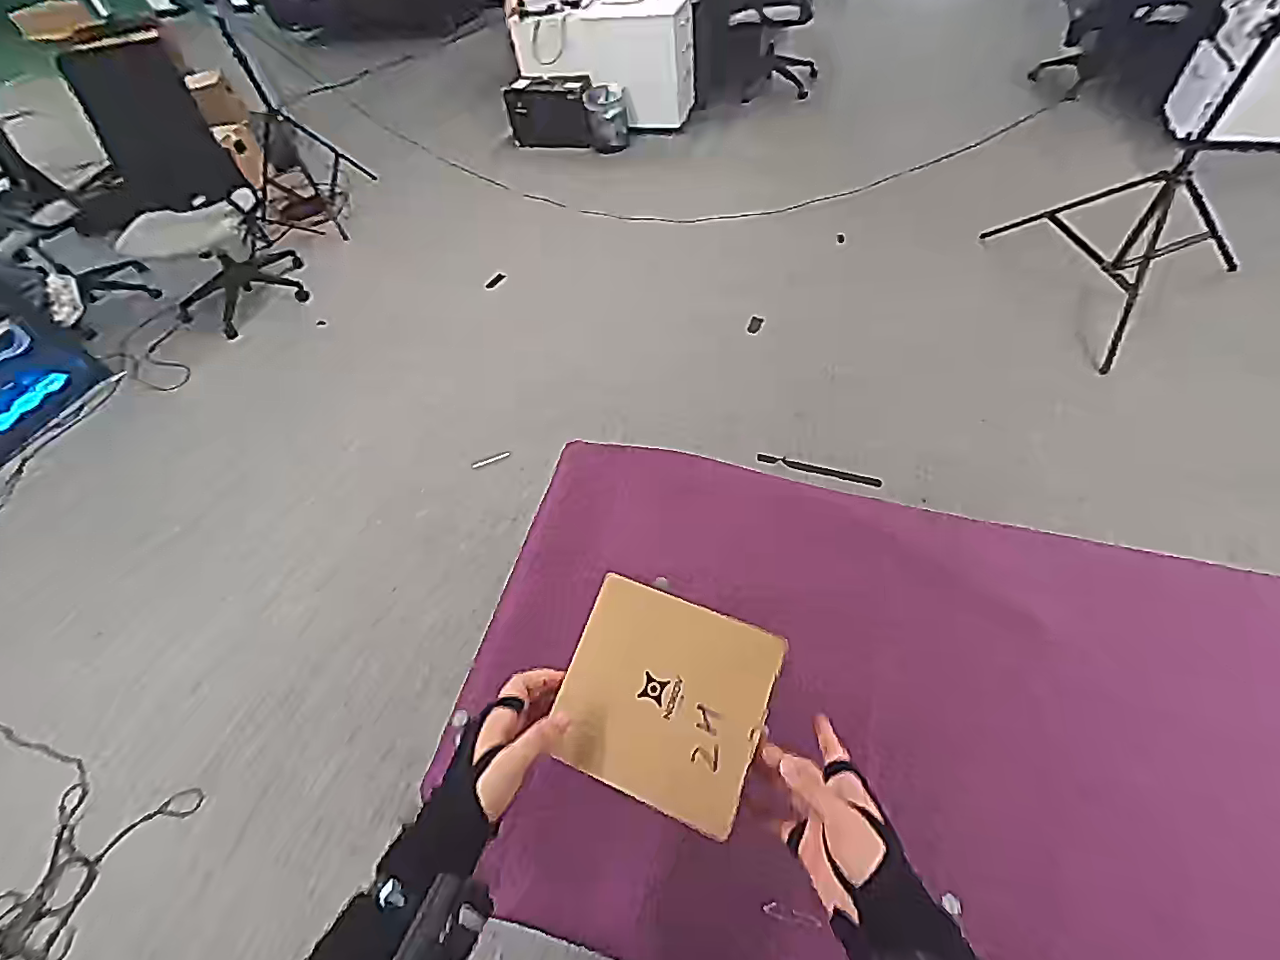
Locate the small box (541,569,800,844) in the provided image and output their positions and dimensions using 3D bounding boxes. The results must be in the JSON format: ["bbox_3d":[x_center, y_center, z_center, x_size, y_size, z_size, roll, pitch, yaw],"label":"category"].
[{"bbox_3d":[0.037,0.211,0.535,0.179,0.176,0.168,23,76,17],"label":"small box"}]
